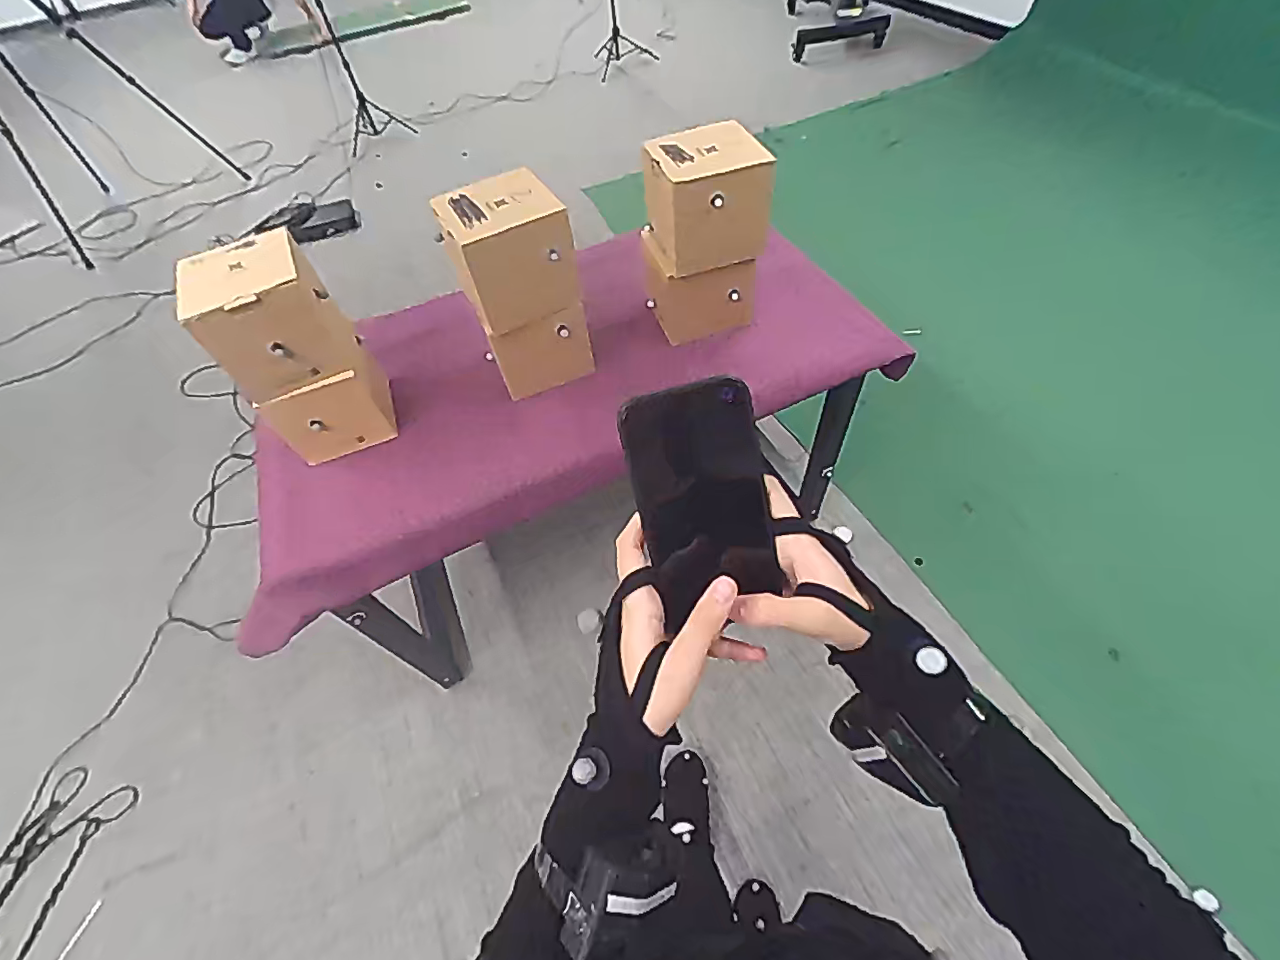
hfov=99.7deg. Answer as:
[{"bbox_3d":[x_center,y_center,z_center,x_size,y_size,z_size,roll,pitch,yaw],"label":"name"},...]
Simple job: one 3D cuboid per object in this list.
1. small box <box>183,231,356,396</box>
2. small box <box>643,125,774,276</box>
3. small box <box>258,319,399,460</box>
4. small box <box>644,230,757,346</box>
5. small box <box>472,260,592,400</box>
[{"bbox_3d":[-0.584,-0.258,0.868,0.168,0.176,0.179,-25,57,-12],"label":"small box"},{"bbox_3d":[0.117,-0.486,0.952,0.179,0.176,0.168,-17,54,-6],"label":"small box"},{"bbox_3d":[-0.566,-0.158,0.997,0.168,0.176,0.179,-21,55,-9],"label":"small box"},{"bbox_3d":[0.118,-0.400,1.092,0.179,0.176,0.168,-17,54,-5],"label":"small box"},{"bbox_3d":[-0.200,-0.286,1.046,0.179,0.176,0.168,-22,55,-9],"label":"small box"}]
